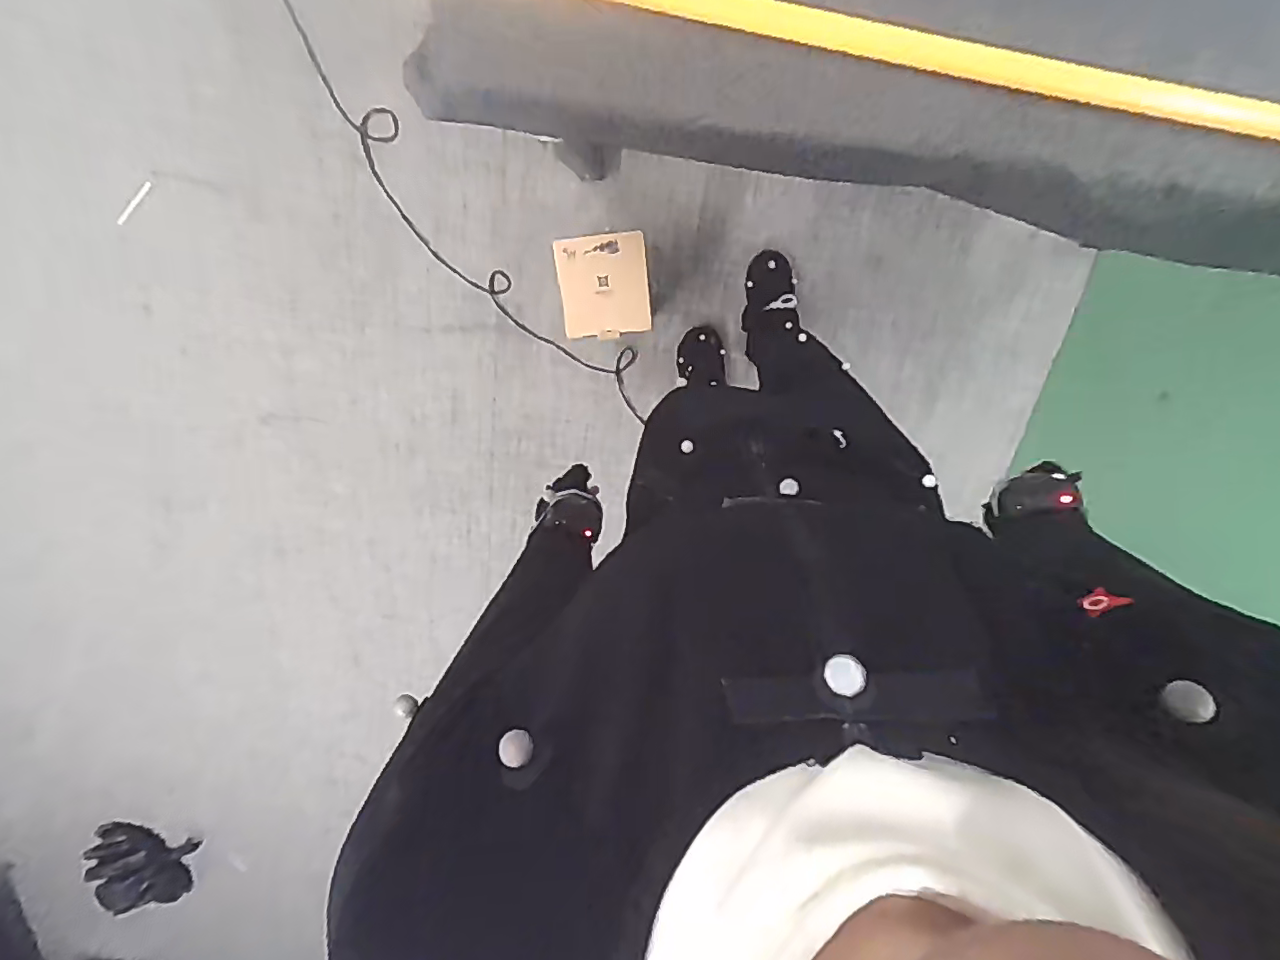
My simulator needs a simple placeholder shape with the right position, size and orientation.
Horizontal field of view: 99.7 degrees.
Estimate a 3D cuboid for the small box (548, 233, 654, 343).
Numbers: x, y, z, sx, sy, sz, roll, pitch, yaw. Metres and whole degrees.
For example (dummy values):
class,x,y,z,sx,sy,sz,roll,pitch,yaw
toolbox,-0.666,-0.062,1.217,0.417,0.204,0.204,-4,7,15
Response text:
class,x,y,z,sx,sy,sz,roll,pitch,yaw
small box,-0.067,-0.379,1.067,0.168,0.176,0.179,-6,110,8
